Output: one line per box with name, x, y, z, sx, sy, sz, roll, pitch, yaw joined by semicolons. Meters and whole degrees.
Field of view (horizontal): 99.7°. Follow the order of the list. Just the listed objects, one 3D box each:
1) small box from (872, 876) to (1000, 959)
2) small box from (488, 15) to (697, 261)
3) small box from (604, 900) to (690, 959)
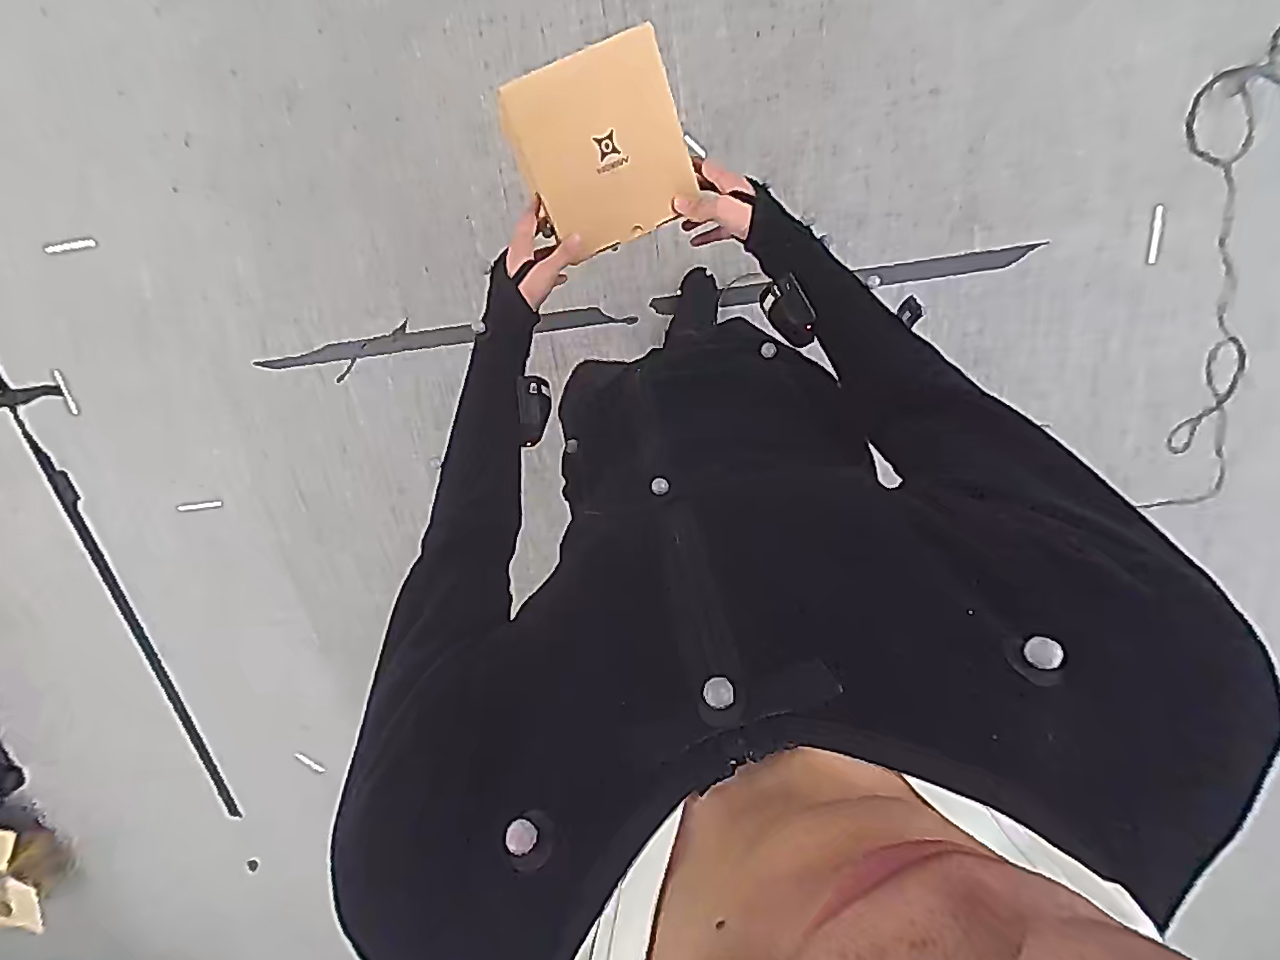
small box;0.587;0.941;1.093;0.168;0.176;0.179;0;109;3
small box;-0.058;-0.371;0.621;0.168;0.176;0.179;-26;117;0
small box;0.018;1.036;1.153;0.179;0.176;0.168;-6;106;4
